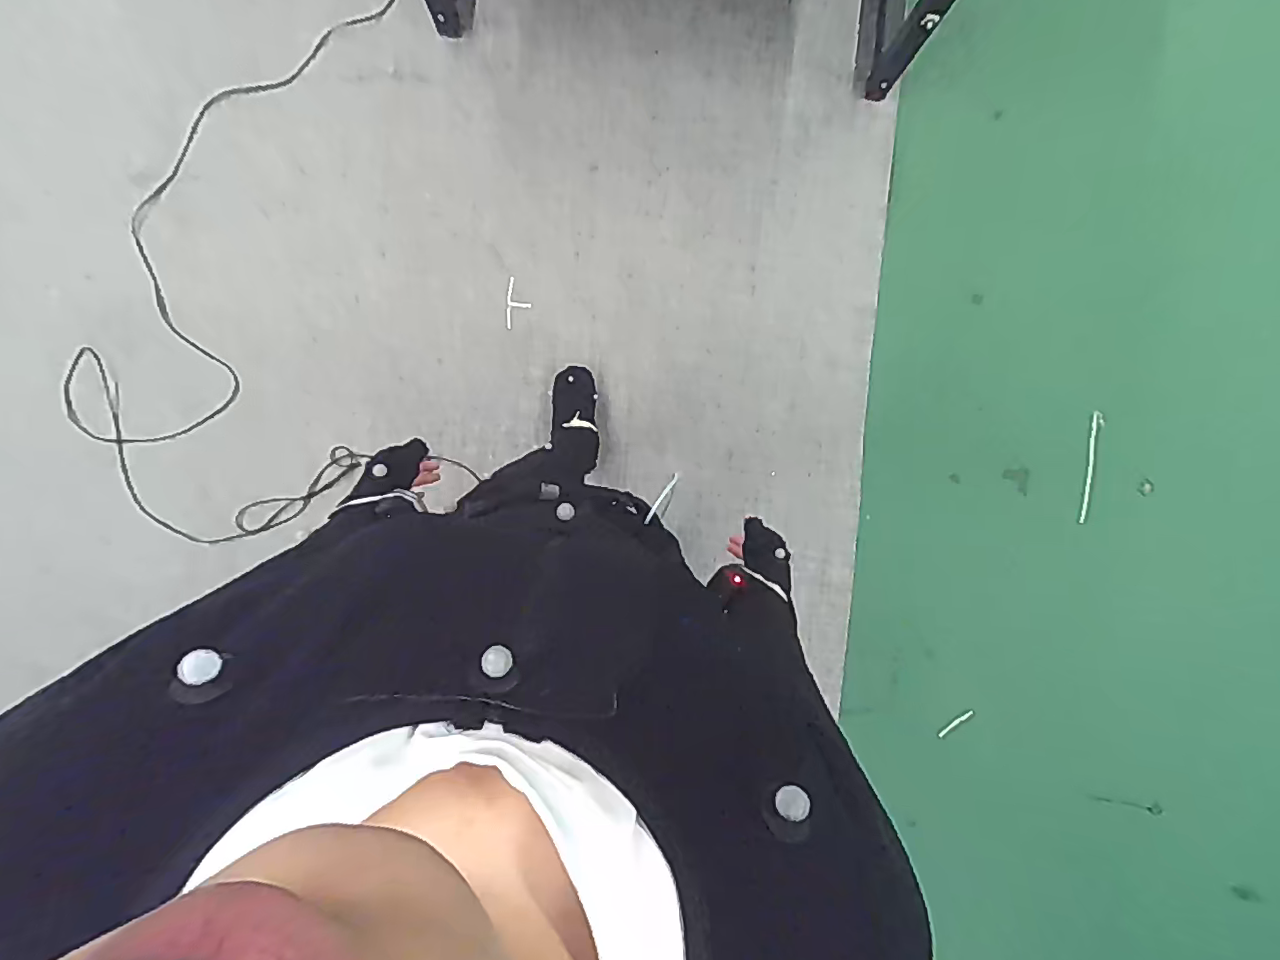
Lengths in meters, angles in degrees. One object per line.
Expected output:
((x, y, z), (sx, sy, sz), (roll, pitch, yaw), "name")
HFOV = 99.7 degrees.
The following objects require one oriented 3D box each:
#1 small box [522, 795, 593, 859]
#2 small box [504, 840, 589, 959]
((-0.210, 0.943, 1.377), (0.168, 0.176, 0.179), (5, 94, -3), "small box")
((-0.204, 0.956, 1.215), (0.168, 0.176, 0.179), (4, 94, -2), "small box")
